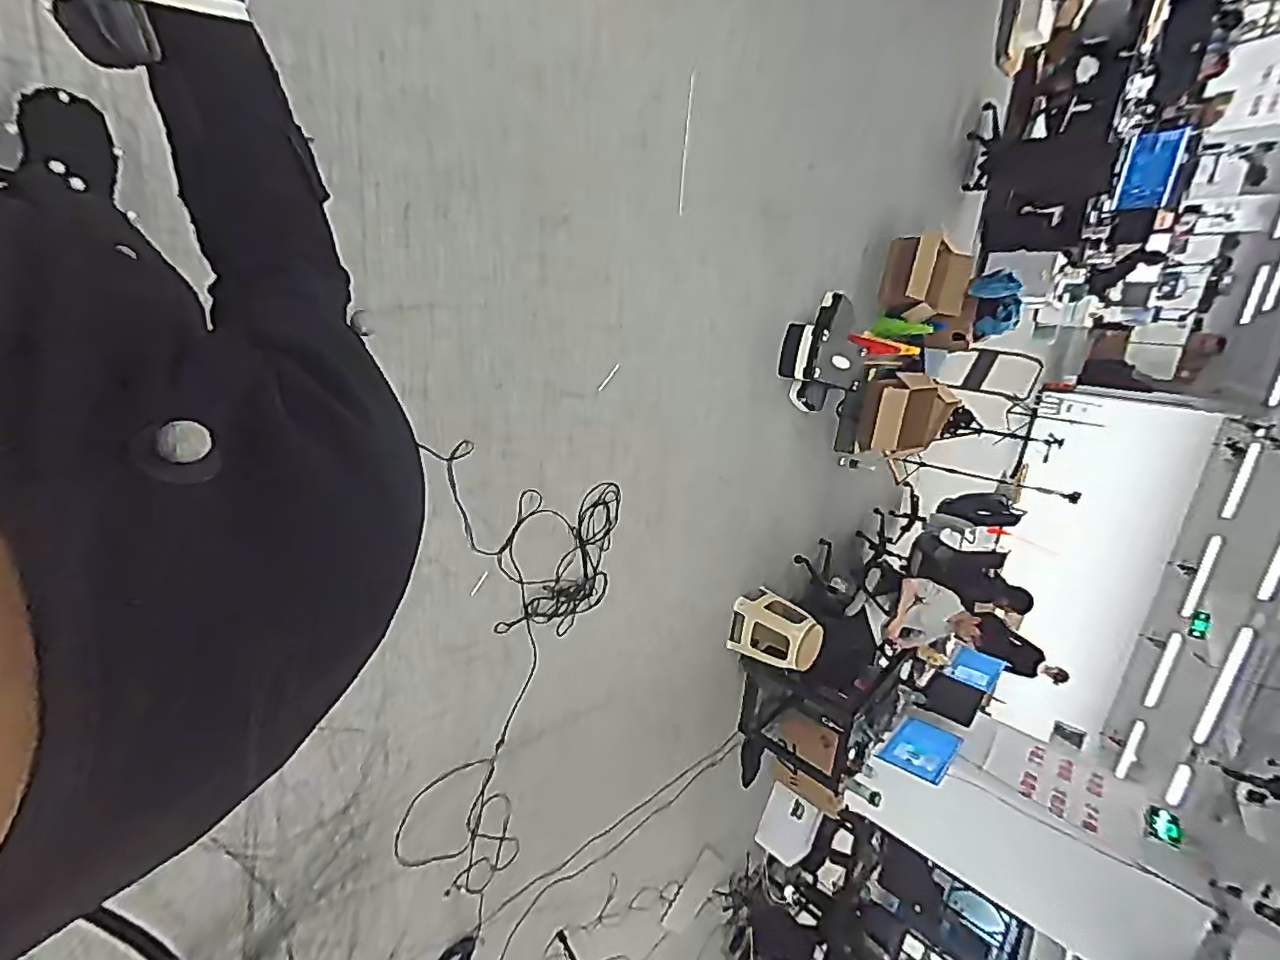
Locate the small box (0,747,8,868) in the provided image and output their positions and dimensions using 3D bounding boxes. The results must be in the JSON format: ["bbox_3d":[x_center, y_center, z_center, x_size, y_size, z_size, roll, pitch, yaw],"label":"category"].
[{"bbox_3d":[-1.298,0.629,0.996,0.168,0.176,0.179,-3,106,-48],"label":"small box"}]
